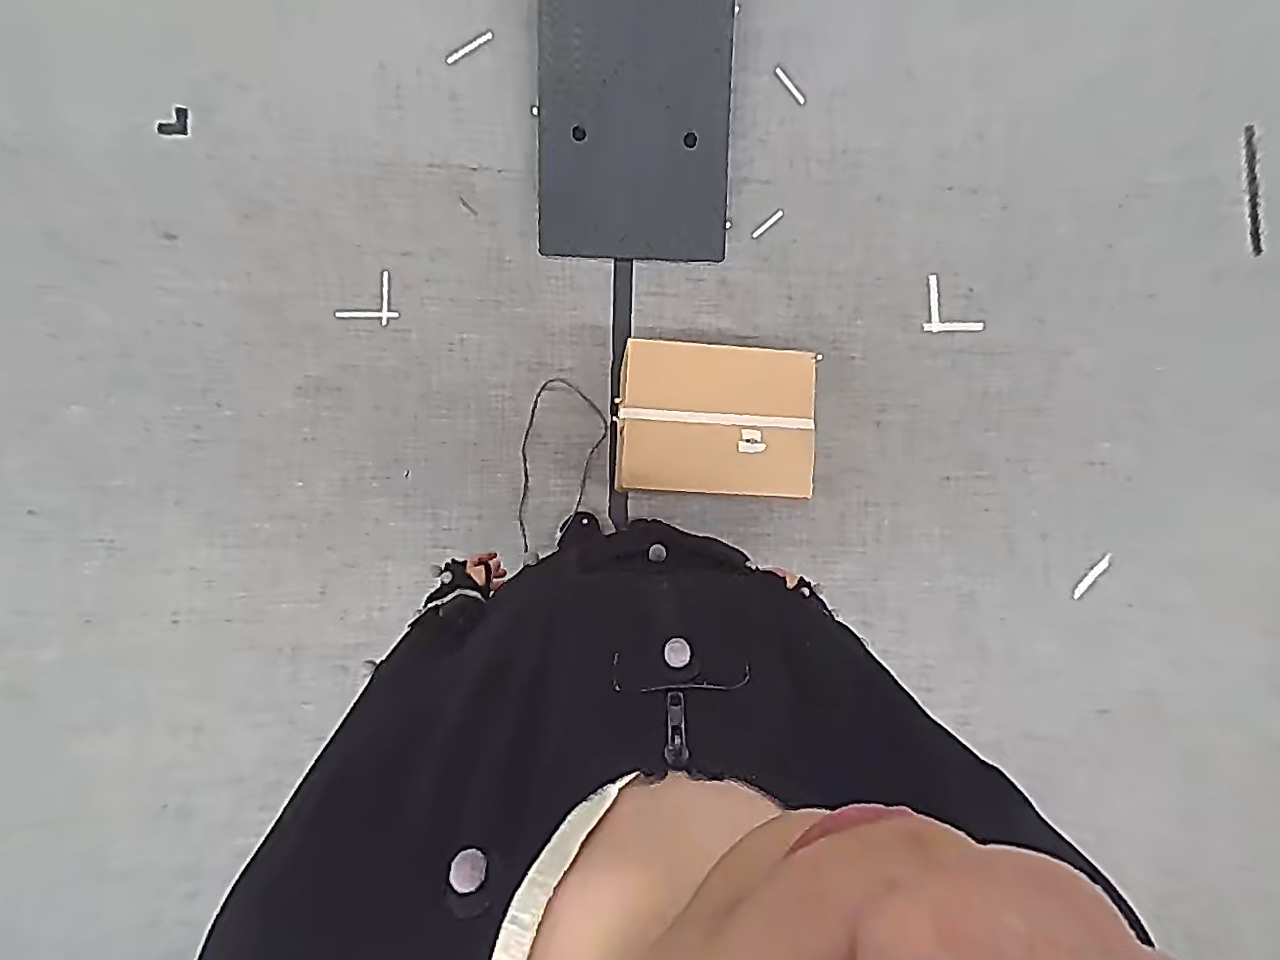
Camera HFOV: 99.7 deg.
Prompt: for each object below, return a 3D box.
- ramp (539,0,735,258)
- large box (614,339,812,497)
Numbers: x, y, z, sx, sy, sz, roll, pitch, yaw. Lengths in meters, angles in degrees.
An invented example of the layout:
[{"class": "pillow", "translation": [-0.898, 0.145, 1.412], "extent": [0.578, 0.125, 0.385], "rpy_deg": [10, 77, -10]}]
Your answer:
[{"class": "ramp", "translation": [-0.005, -1.088, 1.356], "extent": [0.509, 0.206, 0.991], "rpy_deg": [-1, 88, -6]}, {"class": "large box", "translation": [0.148, -0.123, 1.273], "extent": [0.408, 0.320, 0.320], "rpy_deg": [3, 87, -6]}]
